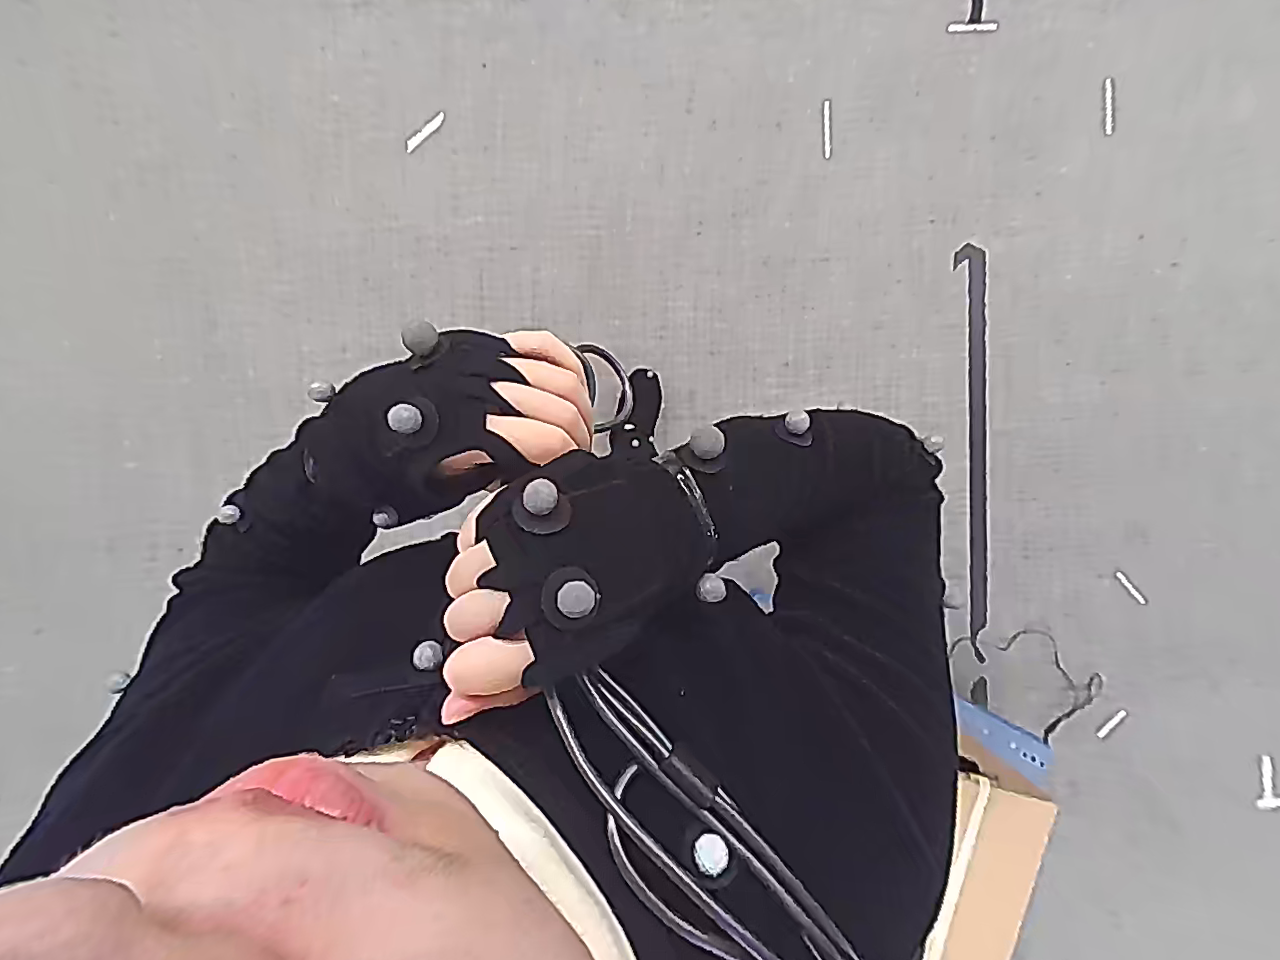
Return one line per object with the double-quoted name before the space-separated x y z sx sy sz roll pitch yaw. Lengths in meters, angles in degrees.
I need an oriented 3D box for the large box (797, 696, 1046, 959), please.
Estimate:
"large box" 0.592 0.763 1.202 0.320 0.320 0.408 16 92 -2
